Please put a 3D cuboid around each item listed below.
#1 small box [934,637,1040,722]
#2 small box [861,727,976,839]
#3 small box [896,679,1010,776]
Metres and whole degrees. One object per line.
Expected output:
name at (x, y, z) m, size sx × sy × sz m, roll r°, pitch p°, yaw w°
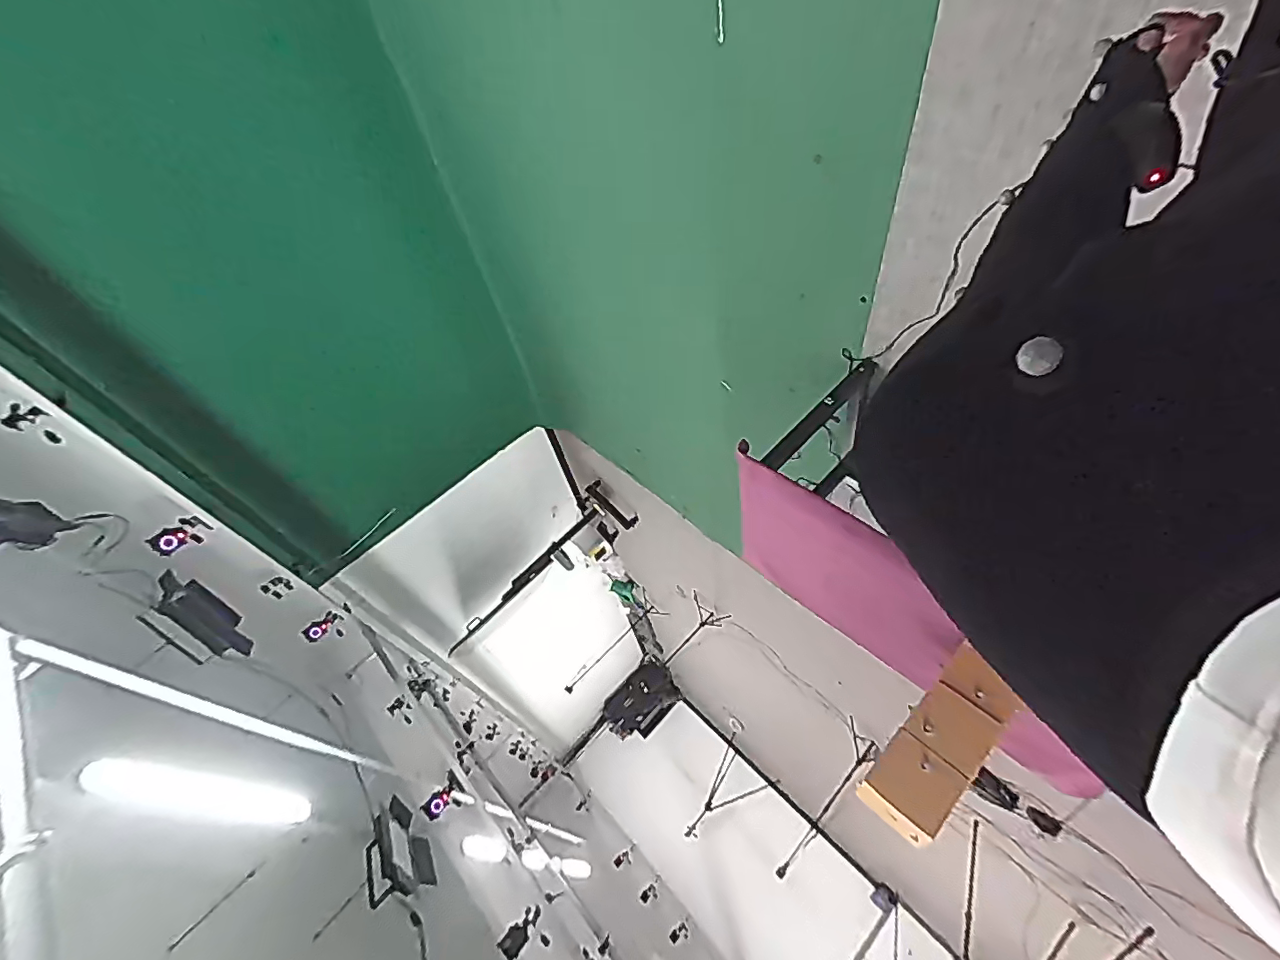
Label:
small box at (0.923, 0.551, 1.458) m, size 0.179 × 0.176 × 0.168 m, roll 34°, pitch 156°, yaw 34°
small box at (0.682, 0.740, 1.336) m, size 0.179 × 0.176 × 0.168 m, roll 37°, pitch 157°, yaw 34°
small box at (0.801, 0.642, 1.393) m, size 0.179 × 0.176 × 0.168 m, roll 36°, pitch 157°, yaw 33°
